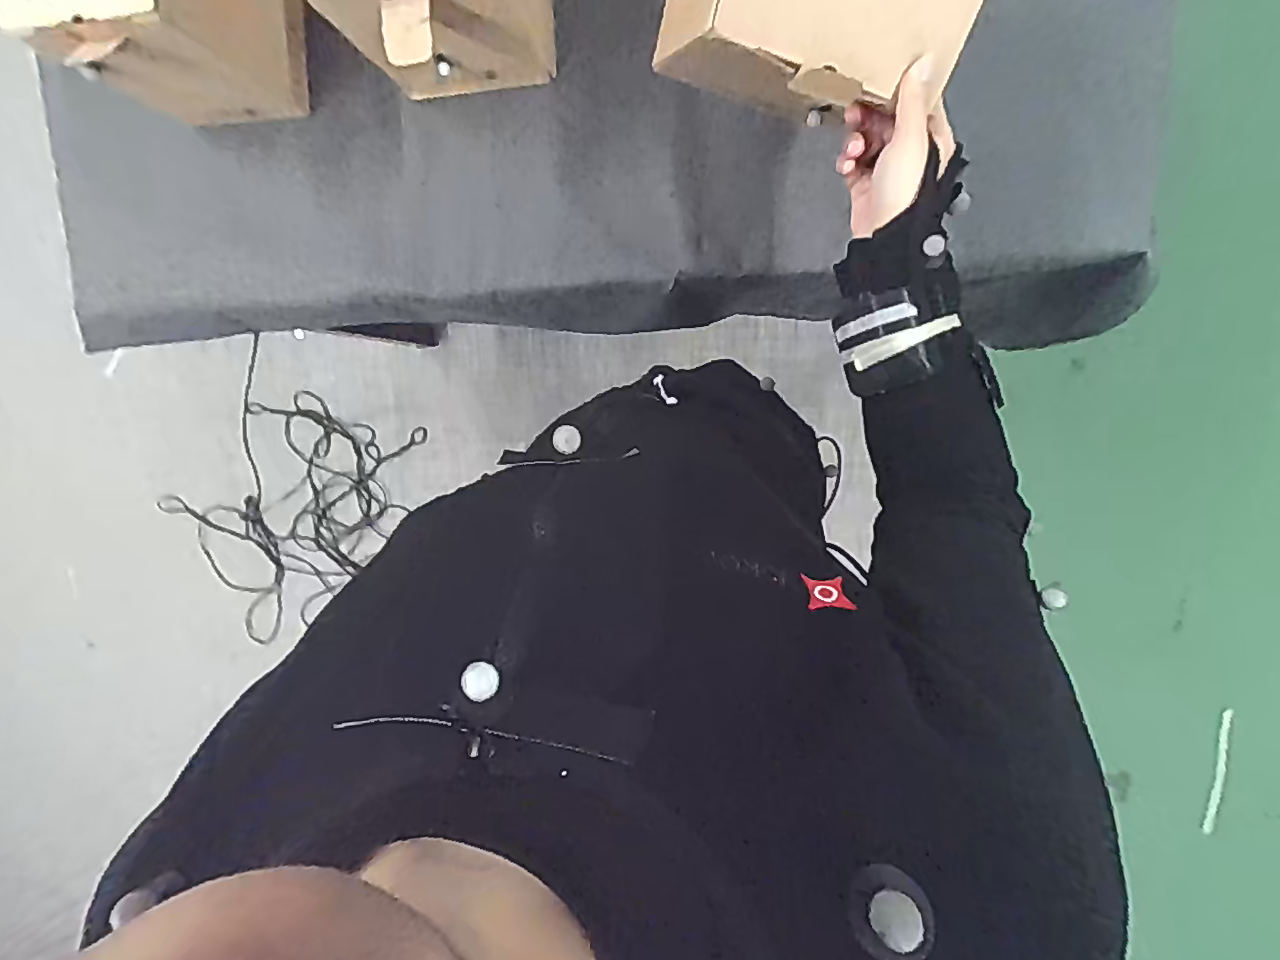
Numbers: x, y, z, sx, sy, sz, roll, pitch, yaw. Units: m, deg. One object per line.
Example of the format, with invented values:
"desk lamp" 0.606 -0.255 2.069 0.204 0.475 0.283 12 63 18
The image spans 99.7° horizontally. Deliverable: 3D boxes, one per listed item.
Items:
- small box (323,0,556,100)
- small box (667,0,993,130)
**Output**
"small box" -0.180 -0.487 0.487 0.168 0.176 0.179 0 99 10
"small box" 0.127 -0.358 0.365 0.168 0.176 0.179 6 119 -17
